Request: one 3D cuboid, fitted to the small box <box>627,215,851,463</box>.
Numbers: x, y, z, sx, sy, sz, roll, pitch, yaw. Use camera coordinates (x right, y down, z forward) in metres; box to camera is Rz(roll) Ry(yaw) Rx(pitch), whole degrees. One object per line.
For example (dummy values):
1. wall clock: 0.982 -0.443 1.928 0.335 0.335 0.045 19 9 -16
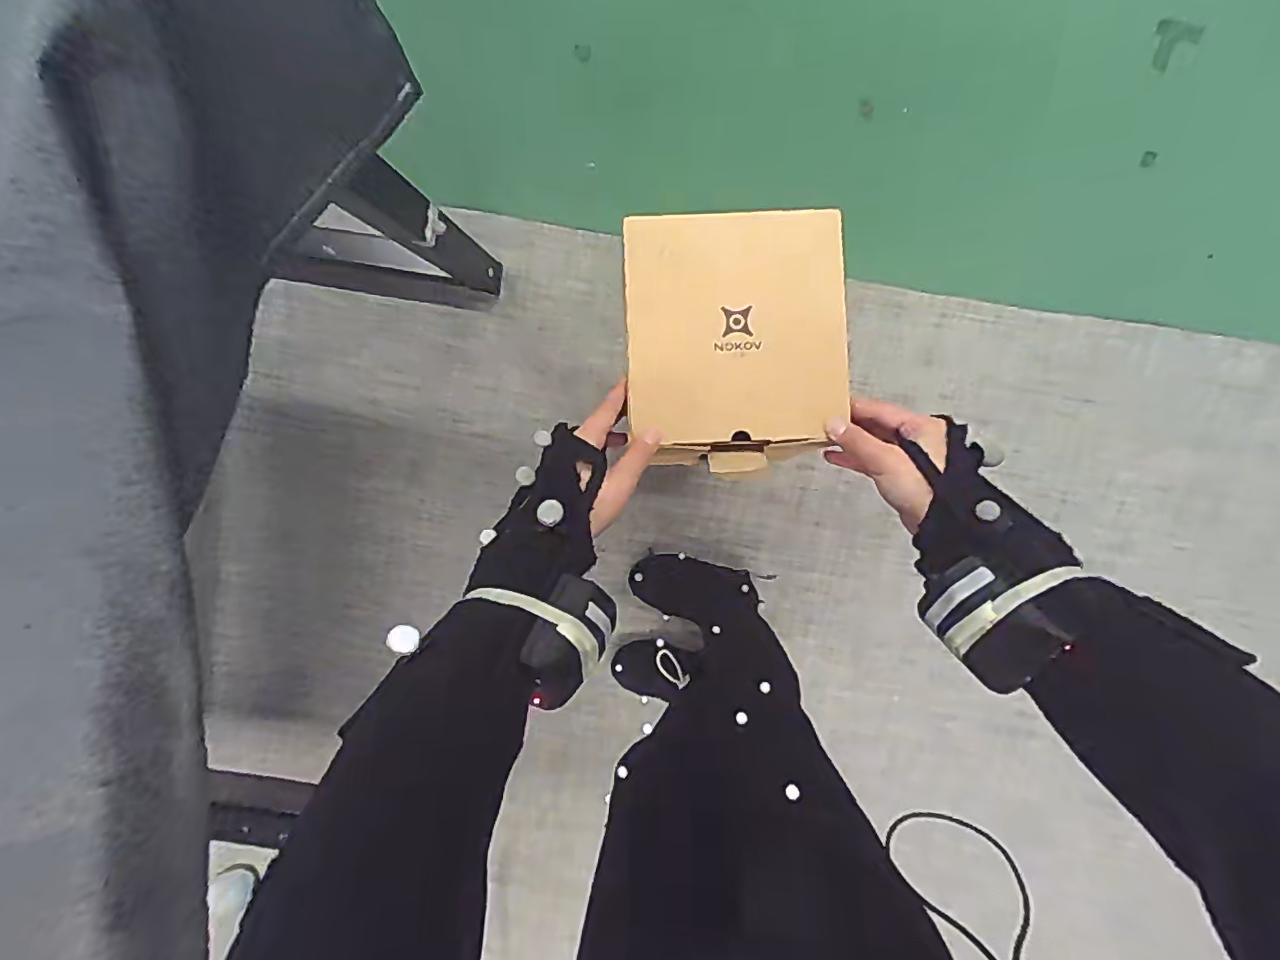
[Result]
1. small box: 0.073 -0.110 0.486 0.168 0.176 0.179 -2 88 -1
